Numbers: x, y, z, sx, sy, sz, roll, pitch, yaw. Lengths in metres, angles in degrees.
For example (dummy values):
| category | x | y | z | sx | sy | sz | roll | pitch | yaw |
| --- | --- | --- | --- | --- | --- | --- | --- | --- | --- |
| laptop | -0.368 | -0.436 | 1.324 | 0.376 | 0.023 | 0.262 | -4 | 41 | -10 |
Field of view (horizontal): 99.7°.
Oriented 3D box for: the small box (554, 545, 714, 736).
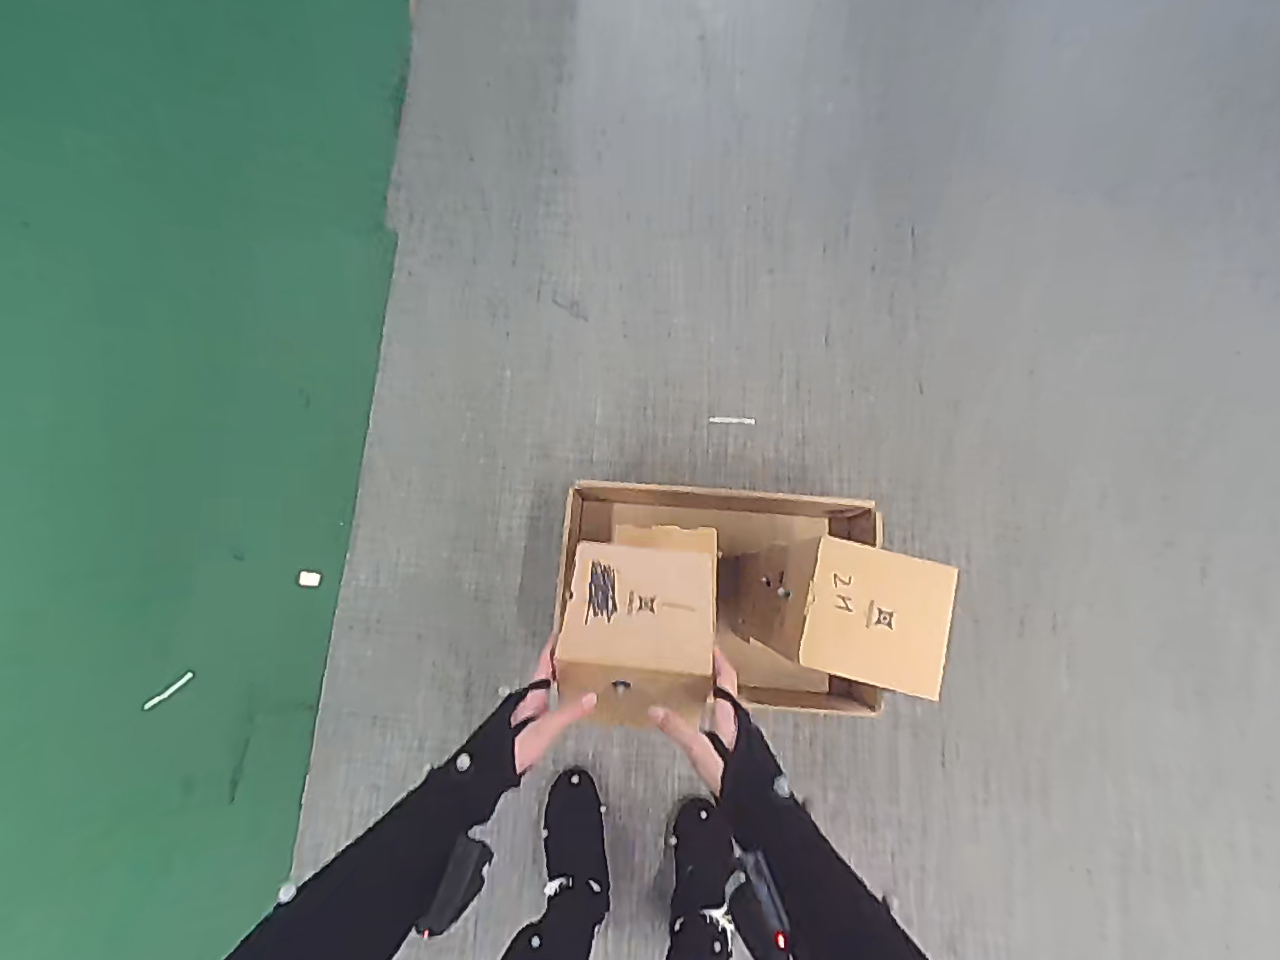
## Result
| category | x | y | z | sx | sy | sz | roll | pitch | yaw |
| --- | --- | --- | --- | --- | --- | --- | --- | --- | --- |
| small box | -0.002 | 0.205 | 0.687 | 0.179 | 0.176 | 0.168 | 6 | 43 | 2 |

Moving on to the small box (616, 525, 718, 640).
| category | x | y | z | sx | sy | sz | roll | pitch | yaw |
| --- | --- | --- | --- | --- | --- | --- | --- | --- | --- |
| small box | 0.041 | 0.177 | 0.925 | 0.168 | 0.176 | 0.179 | 2 | 78 | 0 |

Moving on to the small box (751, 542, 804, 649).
| category | x | y | z | sx | sy | sz | roll | pitch | yaw |
| --- | --- | --- | --- | --- | --- | --- | --- | --- | --- |
| small box | 0.295 | 0.202 | 0.908 | 0.179 | 0.176 | 0.168 | 7 | 78 | 3 |

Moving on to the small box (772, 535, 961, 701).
| category | x | y | z | sx | sy | sz | roll | pitch | yaw |
| --- | --- | --- | --- | --- | --- | --- | --- | --- | --- |
| small box | 0.298 | 0.182 | 0.743 | 0.179 | 0.176 | 0.168 | 14 | 79 | 5 |
